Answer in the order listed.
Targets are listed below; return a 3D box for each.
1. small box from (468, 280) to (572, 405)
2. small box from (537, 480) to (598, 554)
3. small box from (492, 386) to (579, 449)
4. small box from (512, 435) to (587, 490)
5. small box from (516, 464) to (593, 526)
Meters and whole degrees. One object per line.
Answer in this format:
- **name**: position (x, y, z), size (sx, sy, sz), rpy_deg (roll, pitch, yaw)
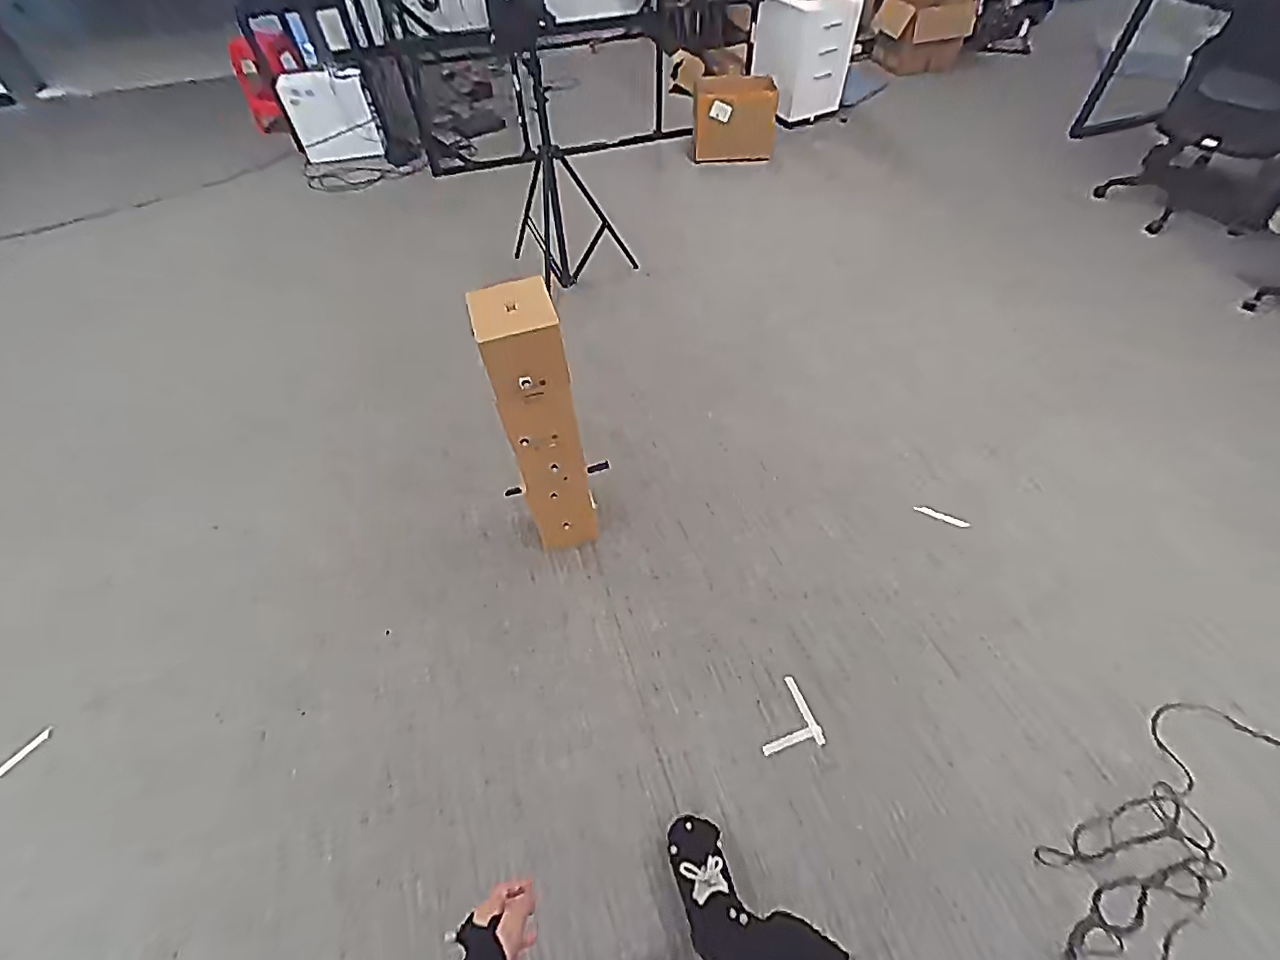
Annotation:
- **small box**: position (-0.251, -0.289, 1.146), size (0.168, 0.176, 0.179), rpy_deg (-17, 55, -9)
- **small box**: position (-0.232, 0.104, 1.669), size (0.179, 0.176, 0.168), rpy_deg (-15, 54, -9)
- **small box**: position (-0.248, -0.191, 1.275), size (0.168, 0.176, 0.179), rpy_deg (-15, 53, -8)
- **small box**: position (-0.240, -0.092, 1.406), size (0.168, 0.176, 0.179), rpy_deg (-14, 55, -8)
- **small box**: position (-0.242, 0.010, 1.534), size (0.179, 0.176, 0.168), rpy_deg (-13, 55, -7)
